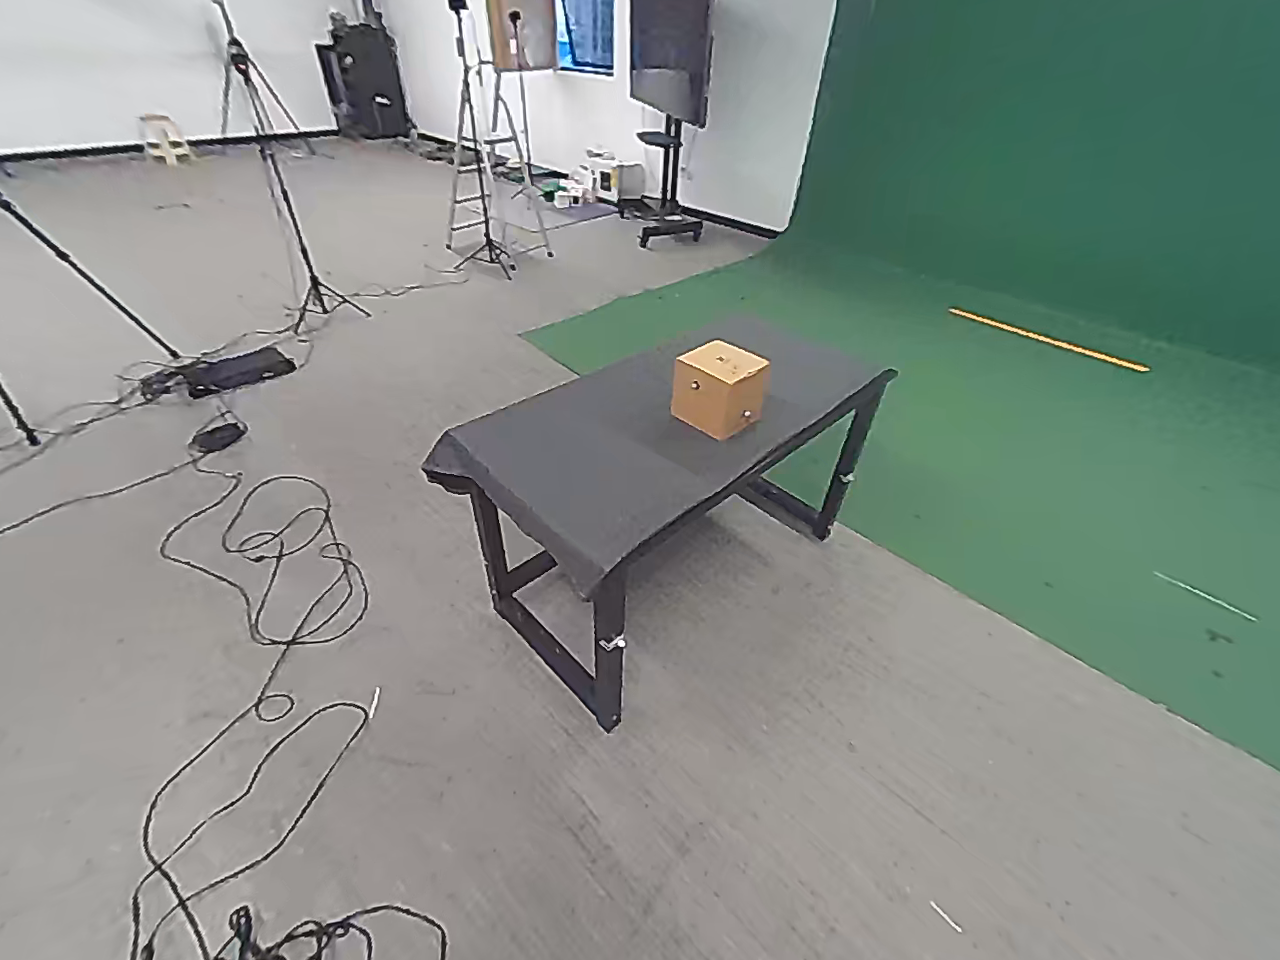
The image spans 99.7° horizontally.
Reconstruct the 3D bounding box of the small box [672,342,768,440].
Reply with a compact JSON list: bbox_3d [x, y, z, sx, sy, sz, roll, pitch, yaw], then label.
[{"bbox_3d":[0.199,-0.229,1.391,0.179,0.176,0.168,33,49,32],"label":"small box"}]
